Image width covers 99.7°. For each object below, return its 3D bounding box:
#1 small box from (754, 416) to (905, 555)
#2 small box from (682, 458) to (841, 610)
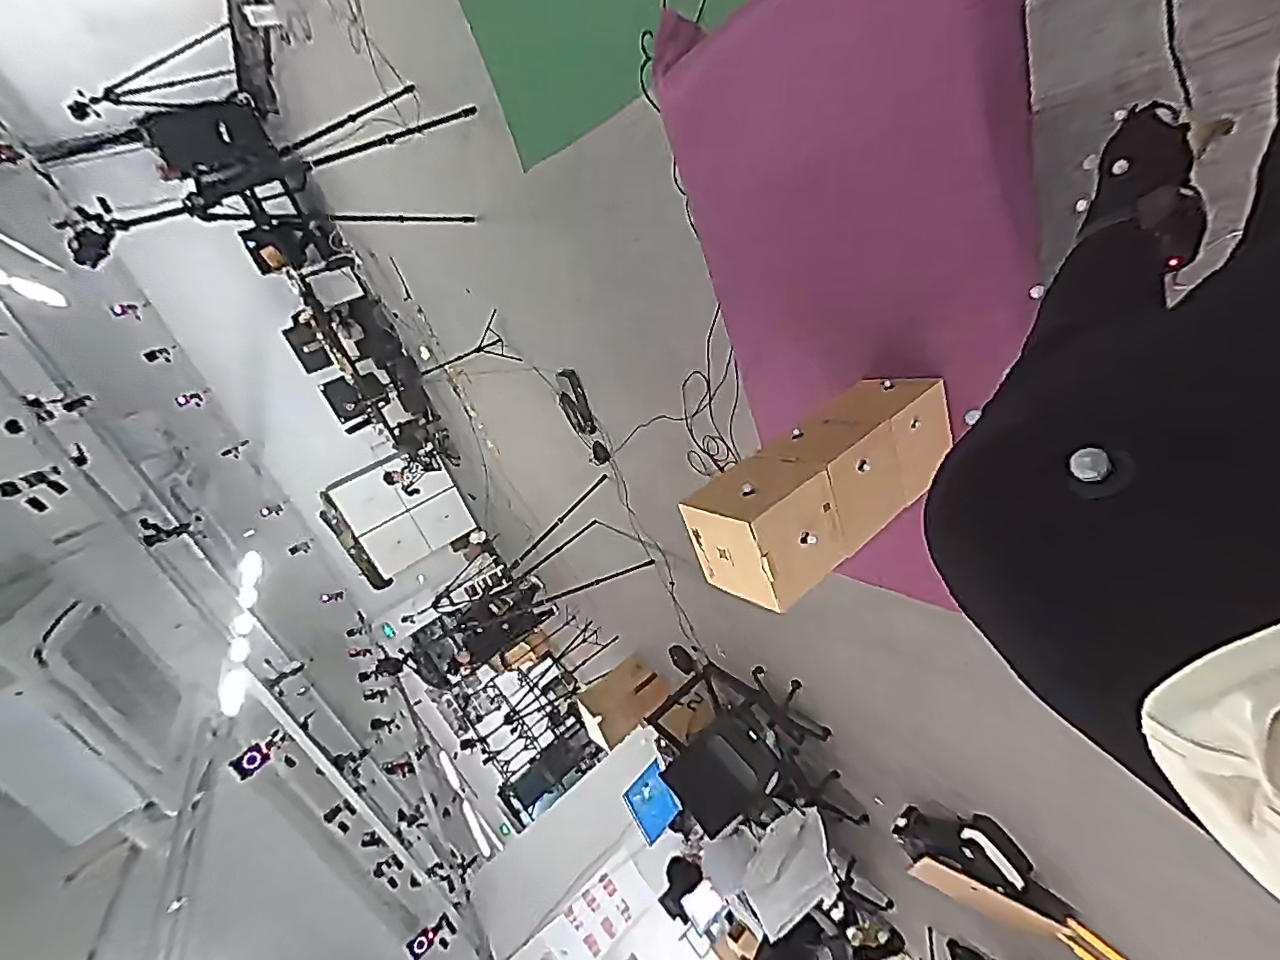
[{"bbox_3d":[0.333,-0.001,0.944,0.168,0.176,0.179,15,131,56],"label":"small box"},{"bbox_3d":[0.204,0.076,0.880,0.179,0.176,0.168,12,128,57],"label":"small box"}]
